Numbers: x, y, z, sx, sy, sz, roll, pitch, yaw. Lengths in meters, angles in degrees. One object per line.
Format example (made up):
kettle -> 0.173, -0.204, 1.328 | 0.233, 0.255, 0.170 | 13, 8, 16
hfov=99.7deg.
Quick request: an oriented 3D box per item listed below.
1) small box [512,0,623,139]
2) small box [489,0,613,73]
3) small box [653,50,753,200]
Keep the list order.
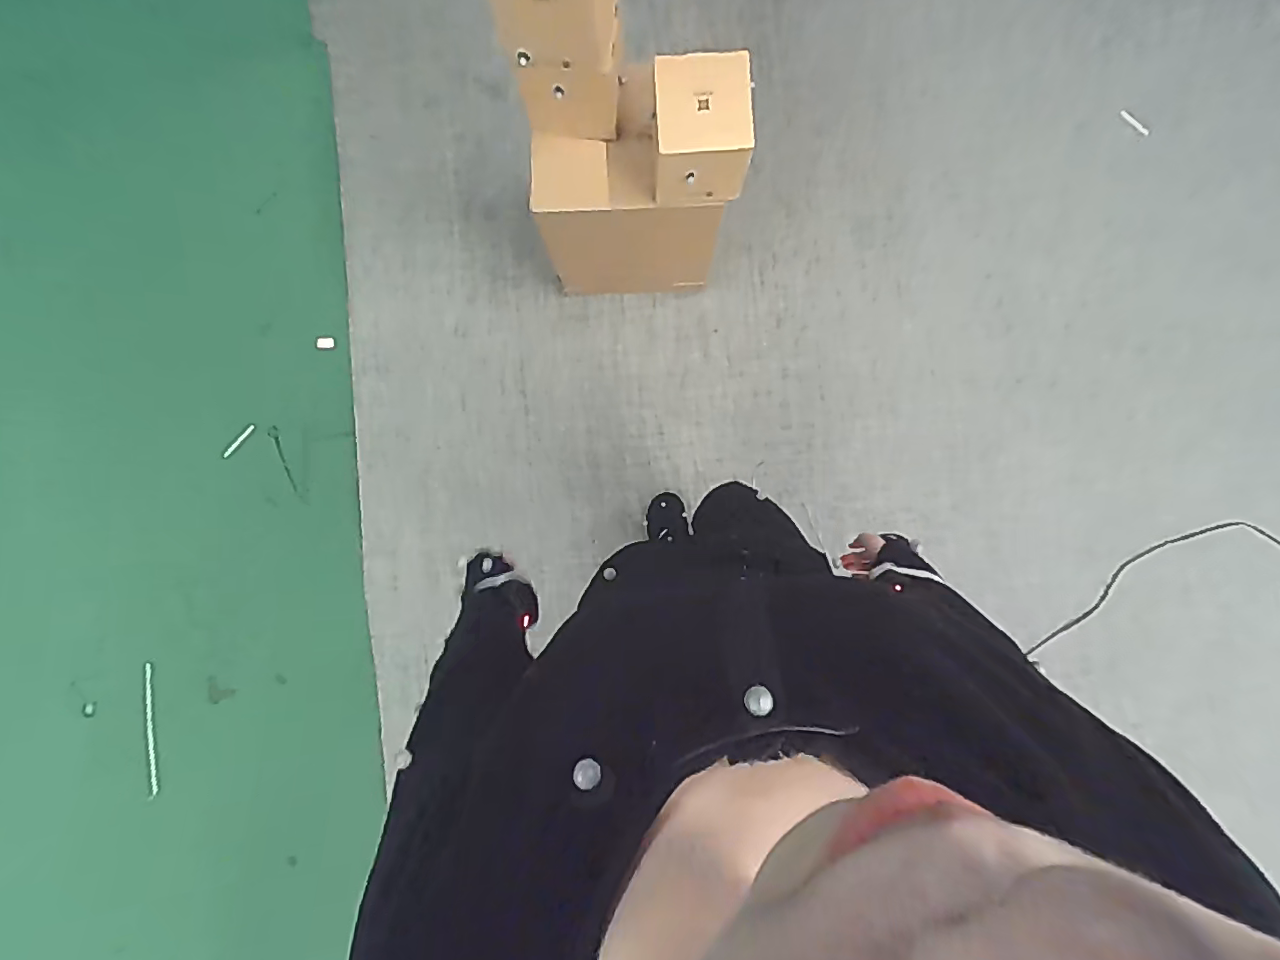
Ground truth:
small box -> -0.128, -0.778, 1.019 | 0.179, 0.176, 0.168 | 4, 87, 1
small box -> -0.137, -0.790, 0.855 | 0.168, 0.176, 0.179 | 6, 86, 2
small box -> 0.111, -0.643, 1.004 | 0.168, 0.176, 0.179 | -4, 87, 1
